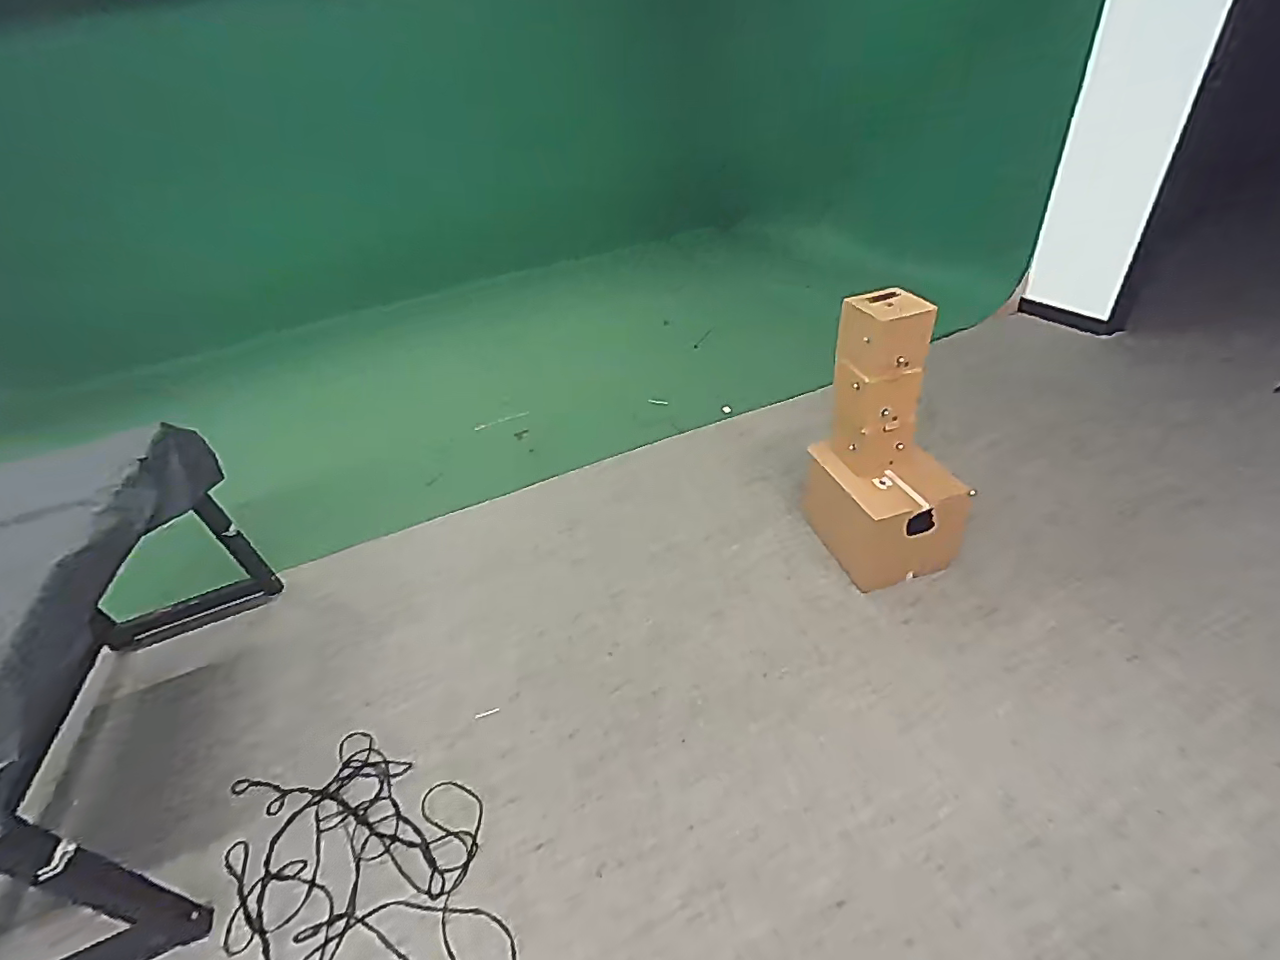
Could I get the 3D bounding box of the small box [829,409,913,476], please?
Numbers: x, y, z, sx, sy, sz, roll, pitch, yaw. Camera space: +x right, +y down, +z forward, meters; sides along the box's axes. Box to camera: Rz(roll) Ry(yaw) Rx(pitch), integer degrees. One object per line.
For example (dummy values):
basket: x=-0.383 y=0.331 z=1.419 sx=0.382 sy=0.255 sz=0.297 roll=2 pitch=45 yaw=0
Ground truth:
small box: x=0.706 y=-0.129 z=1.671 sx=0.168 sy=0.176 sz=0.179 roll=-14 pitch=37 yaw=-8

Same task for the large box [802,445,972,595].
large box: x=0.770 y=0.096 z=1.765 sx=0.320 sy=0.320 sz=0.408 roll=-16 pitch=39 yaw=-7

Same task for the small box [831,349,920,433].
small box: x=0.676 y=-0.259 z=1.577 sx=0.168 sy=0.176 sz=0.179 roll=-13 pitch=38 yaw=-6
